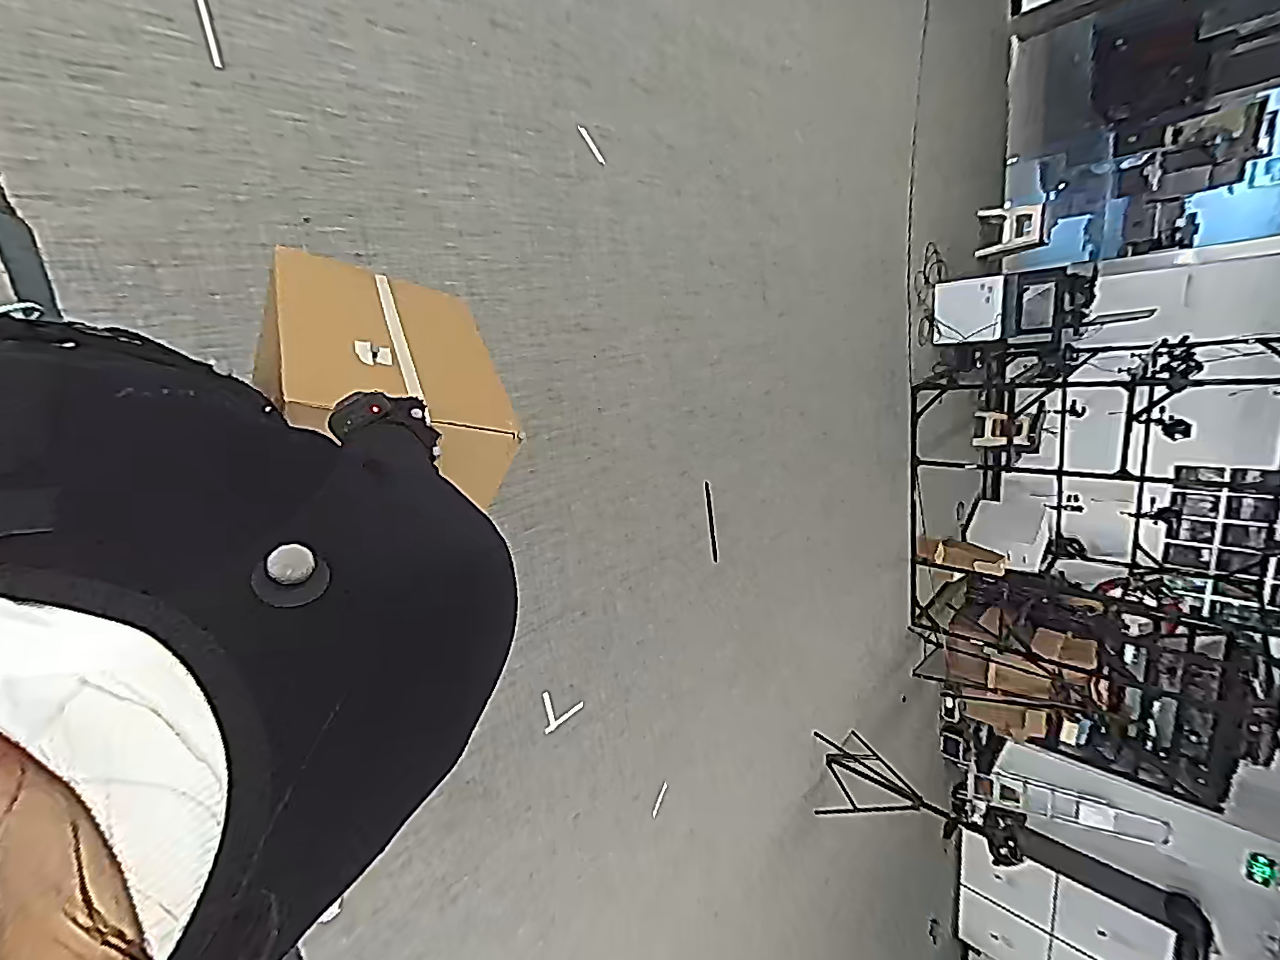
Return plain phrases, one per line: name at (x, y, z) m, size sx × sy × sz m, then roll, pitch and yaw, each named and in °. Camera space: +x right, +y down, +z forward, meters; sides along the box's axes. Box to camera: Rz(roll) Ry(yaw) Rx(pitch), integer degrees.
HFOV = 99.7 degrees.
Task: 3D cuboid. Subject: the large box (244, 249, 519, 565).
large box at (-0.458, -0.109, 0.916) m, size 0.320 × 0.408 × 0.320 m, roll 5°, pitch 133°, yaw -40°
